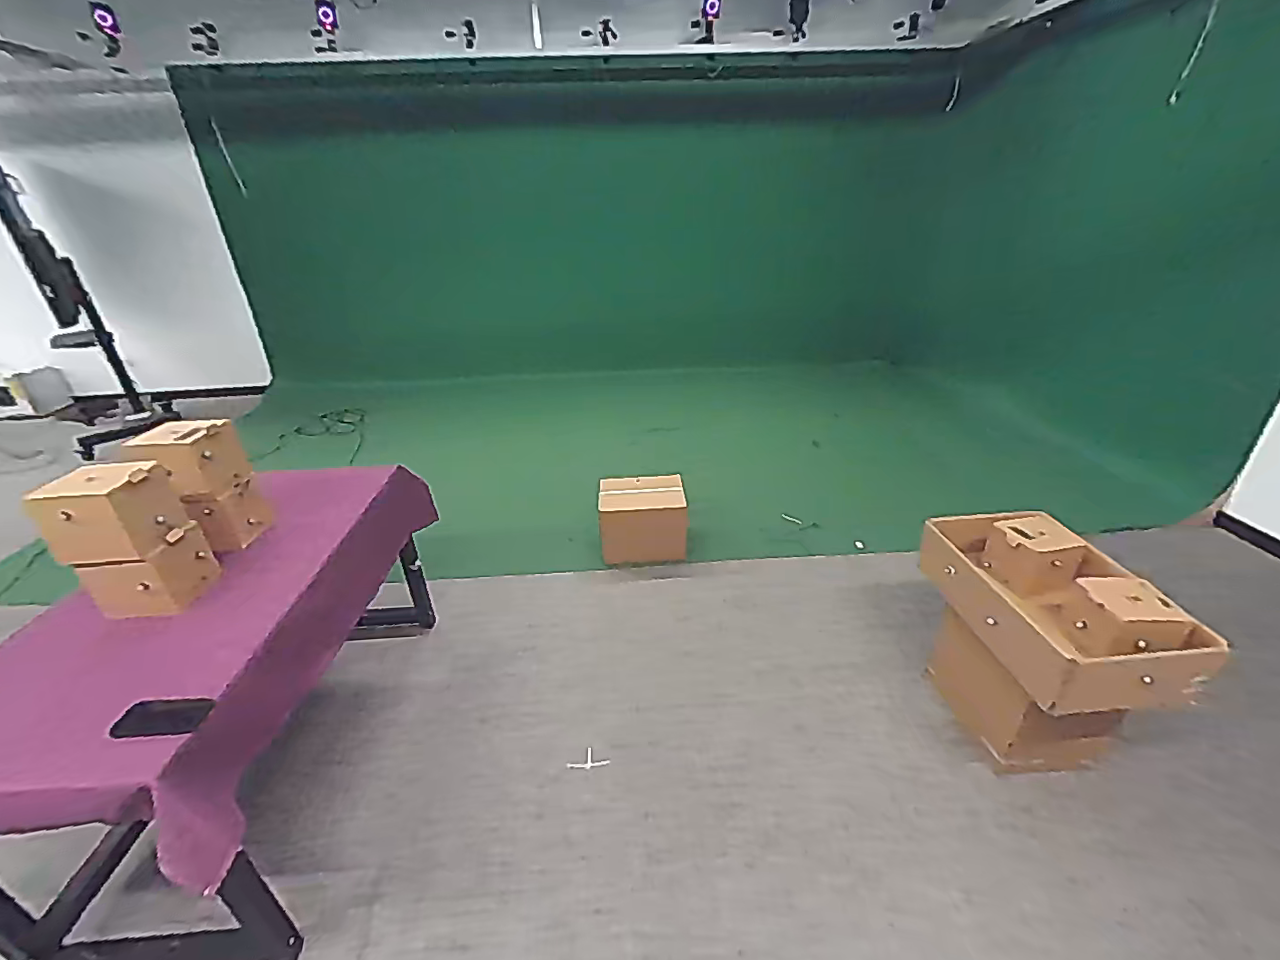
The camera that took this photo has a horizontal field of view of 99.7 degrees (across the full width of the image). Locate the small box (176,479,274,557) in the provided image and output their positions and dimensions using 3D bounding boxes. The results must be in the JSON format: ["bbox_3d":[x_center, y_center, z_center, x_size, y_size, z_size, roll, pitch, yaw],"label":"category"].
[{"bbox_3d":[-1.203,0.110,1.549,0.179,0.176,0.168,-3,27,-3],"label":"small box"}]

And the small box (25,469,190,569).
[{"bbox_3d":[-1.194,0.088,1.230,0.179,0.176,0.168,-4,27,-3],"label":"small box"}]

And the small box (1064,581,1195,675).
[{"bbox_3d":[1.230,0.378,1.380,0.179,0.176,0.168,-2,28,4],"label":"small box"}]

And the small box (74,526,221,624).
[{"bbox_3d":[-1.178,0.230,1.314,0.179,0.176,0.168,-4,26,-2],"label":"small box"}]
